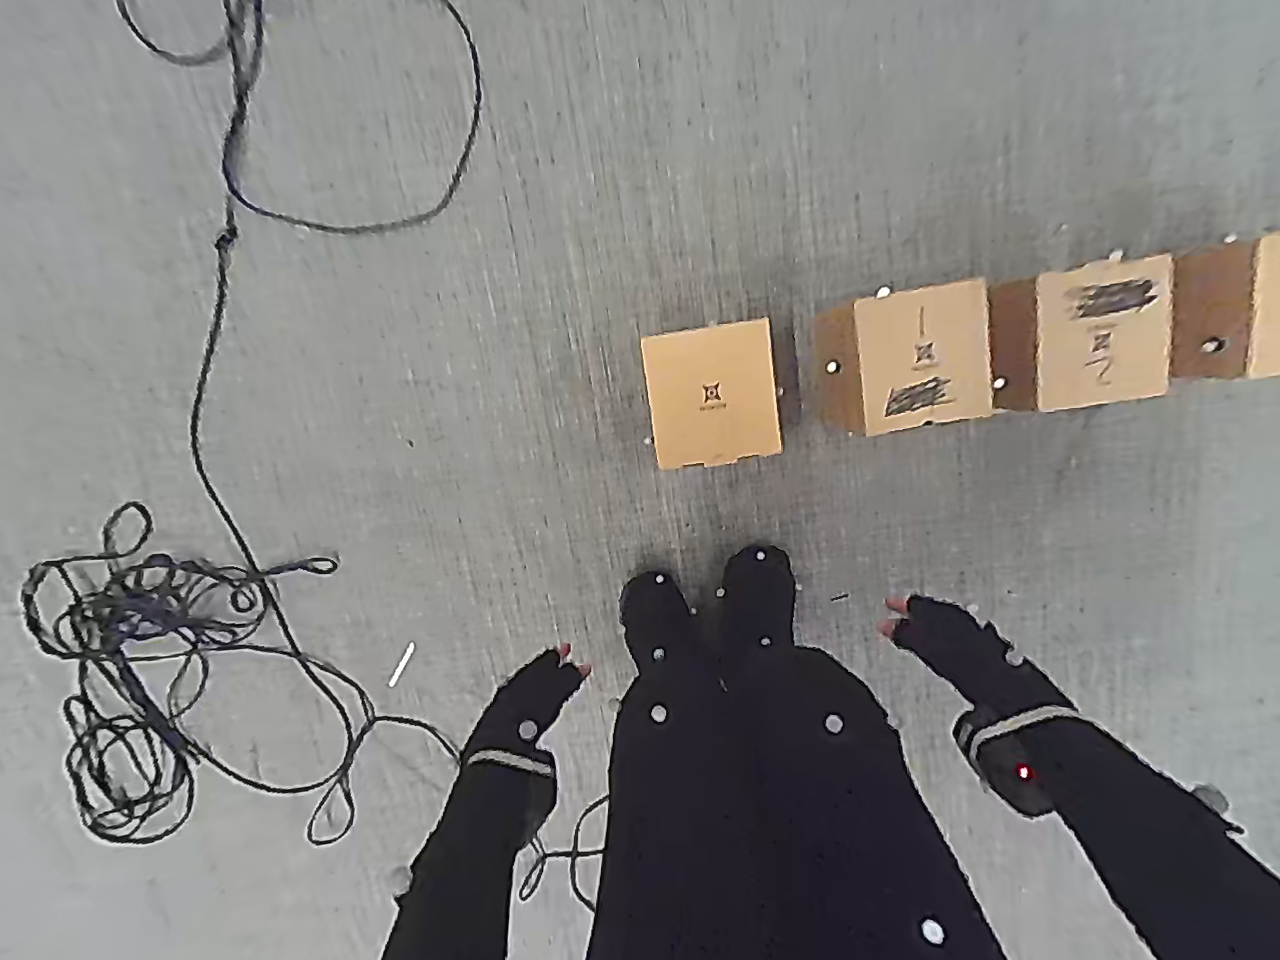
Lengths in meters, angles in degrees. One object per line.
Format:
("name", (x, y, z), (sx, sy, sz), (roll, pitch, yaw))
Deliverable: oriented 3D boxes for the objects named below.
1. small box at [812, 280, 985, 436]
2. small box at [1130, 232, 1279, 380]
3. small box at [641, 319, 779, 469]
("small box", (0.354, -0.167, 0.765), (0.168, 0.176, 0.179), (-9, 99, 3))
("small box", (0.829, -0.237, 0.747), (0.168, 0.176, 0.179), (-8, 100, 2))
("small box", (0.092, -0.122, 0.780), (0.168, 0.176, 0.179), (-9, 100, 3))
